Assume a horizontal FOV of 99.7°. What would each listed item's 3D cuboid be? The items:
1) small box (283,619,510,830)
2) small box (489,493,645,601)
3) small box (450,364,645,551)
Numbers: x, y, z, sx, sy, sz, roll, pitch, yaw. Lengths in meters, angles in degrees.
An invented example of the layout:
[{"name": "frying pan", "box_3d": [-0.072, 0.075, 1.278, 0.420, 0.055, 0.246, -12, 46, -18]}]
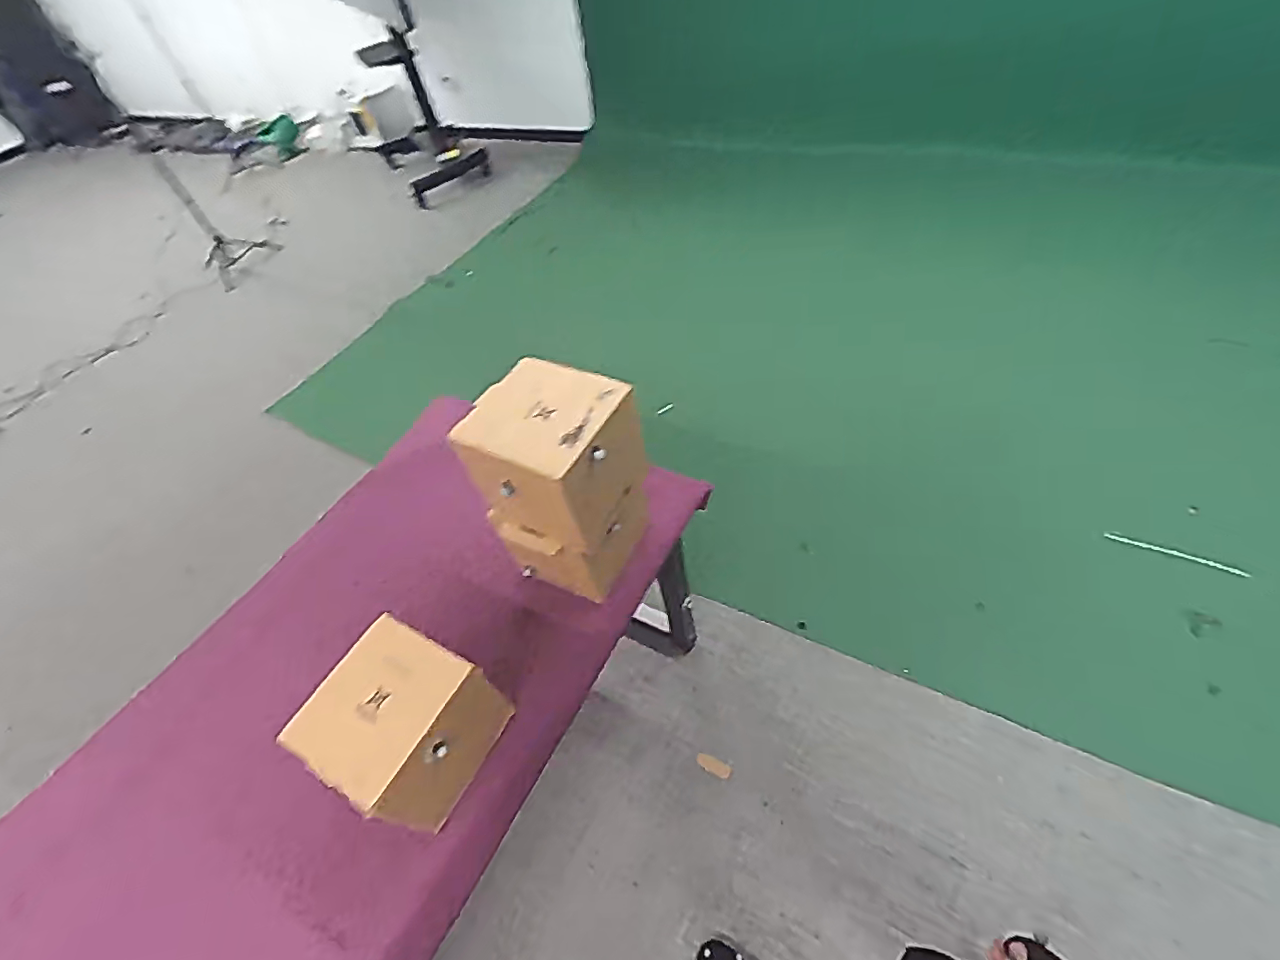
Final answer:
[{"name": "small box", "box_3d": [-0.298, 0.320, 0.703, 0.168, 0.176, 0.179, 19, 57, 25]}, {"name": "small box", "box_3d": [-0.104, 0.068, 0.871, 0.168, 0.176, 0.179, 17, 56, 22]}, {"name": "small box", "box_3d": [-0.113, -0.028, 0.736, 0.179, 0.176, 0.168, 19, 58, 25]}]
